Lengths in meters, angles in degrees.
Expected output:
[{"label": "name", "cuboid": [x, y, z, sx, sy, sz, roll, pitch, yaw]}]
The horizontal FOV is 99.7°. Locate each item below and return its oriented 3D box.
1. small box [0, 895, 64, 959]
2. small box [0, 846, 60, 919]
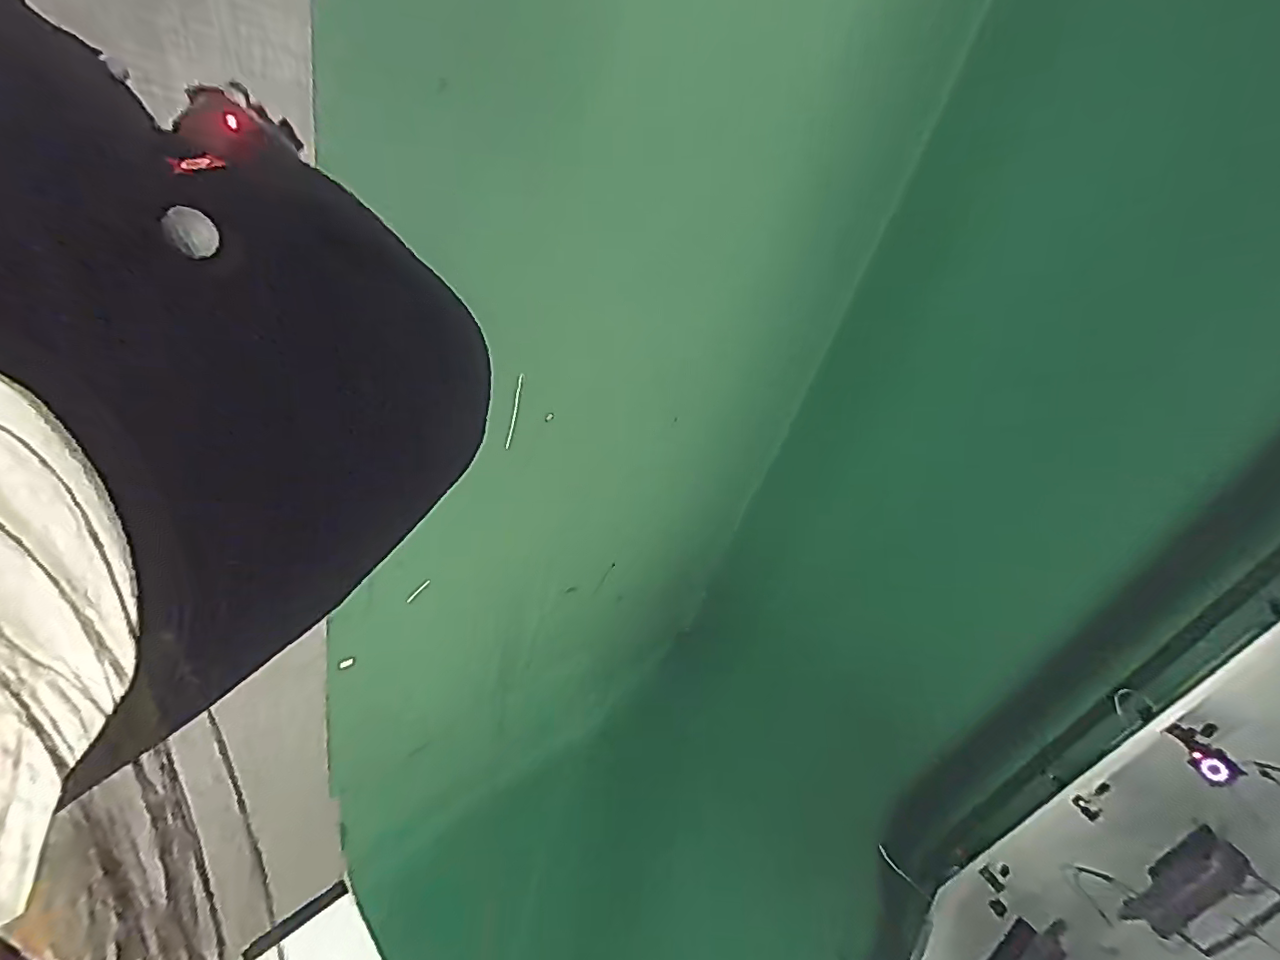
[{"label": "small box", "cuboid": [-1.662, 1.260, 1.424, 0.179, 0.176, 0.168, -16, 134, -46]}, {"label": "small box", "cuboid": [-1.778, 1.184, 1.508, 0.179, 0.176, 0.168, -20, 137, -46]}]
